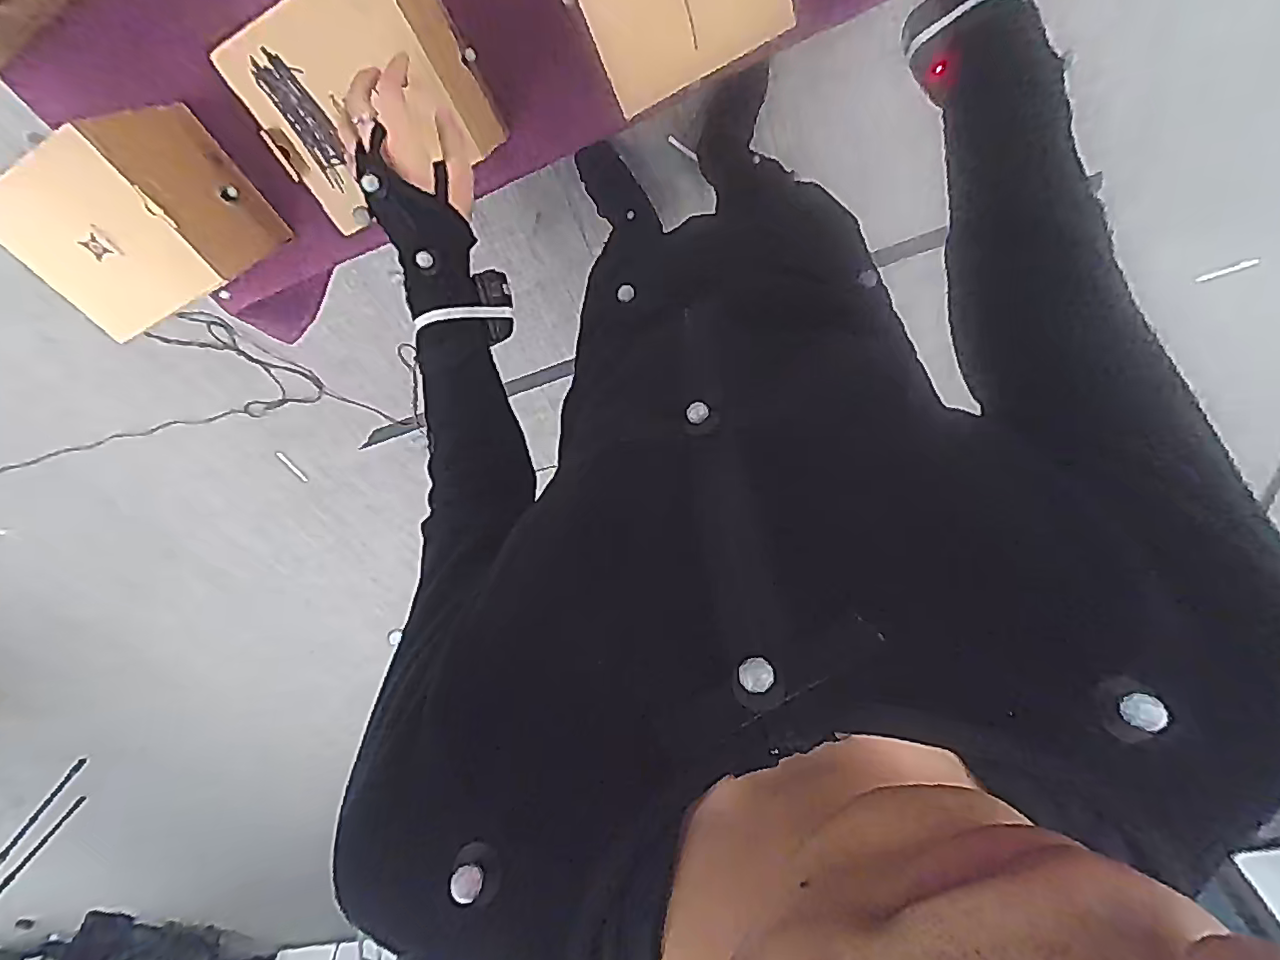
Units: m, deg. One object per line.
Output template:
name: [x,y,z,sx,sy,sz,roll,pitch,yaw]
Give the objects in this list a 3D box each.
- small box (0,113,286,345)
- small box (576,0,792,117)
small box: [-0.566,-0.293,0.629,0.179,0.176,0.168,-22,127,14]
small box: [0.020,-0.473,0.494,0.168,0.176,0.179,-20,128,15]
